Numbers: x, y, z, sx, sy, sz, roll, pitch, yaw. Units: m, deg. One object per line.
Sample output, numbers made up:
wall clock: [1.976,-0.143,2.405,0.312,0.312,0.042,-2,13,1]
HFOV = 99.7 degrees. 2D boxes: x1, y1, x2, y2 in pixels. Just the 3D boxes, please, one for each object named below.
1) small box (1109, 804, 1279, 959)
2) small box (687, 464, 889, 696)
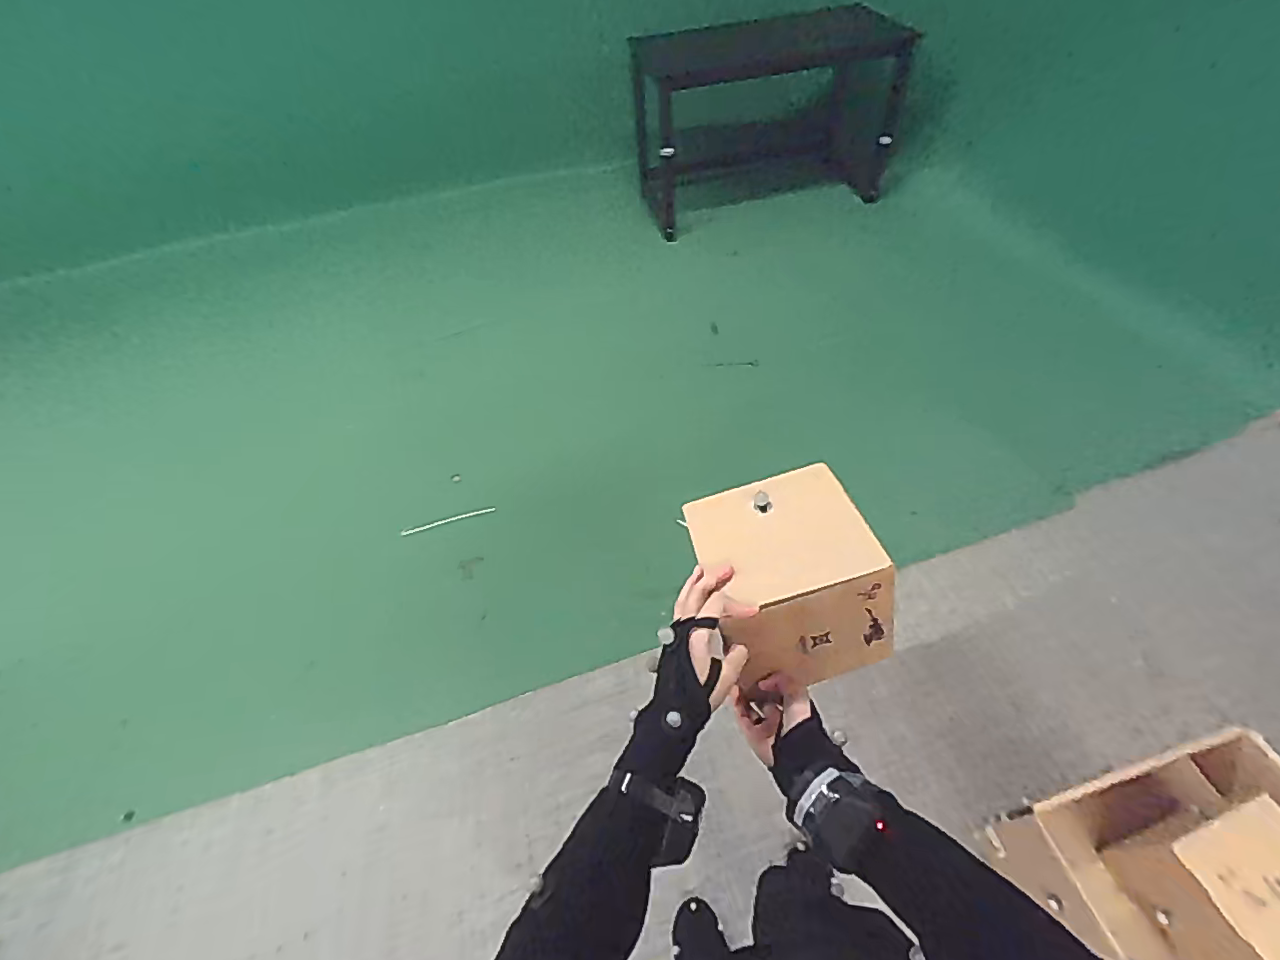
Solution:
small box: [0.816,0.572,0.739,0.179,0.176,0.168,-18,53,-8]
small box: [0.158,0.109,0.613,0.179,0.168,0.176,-18,39,5]
